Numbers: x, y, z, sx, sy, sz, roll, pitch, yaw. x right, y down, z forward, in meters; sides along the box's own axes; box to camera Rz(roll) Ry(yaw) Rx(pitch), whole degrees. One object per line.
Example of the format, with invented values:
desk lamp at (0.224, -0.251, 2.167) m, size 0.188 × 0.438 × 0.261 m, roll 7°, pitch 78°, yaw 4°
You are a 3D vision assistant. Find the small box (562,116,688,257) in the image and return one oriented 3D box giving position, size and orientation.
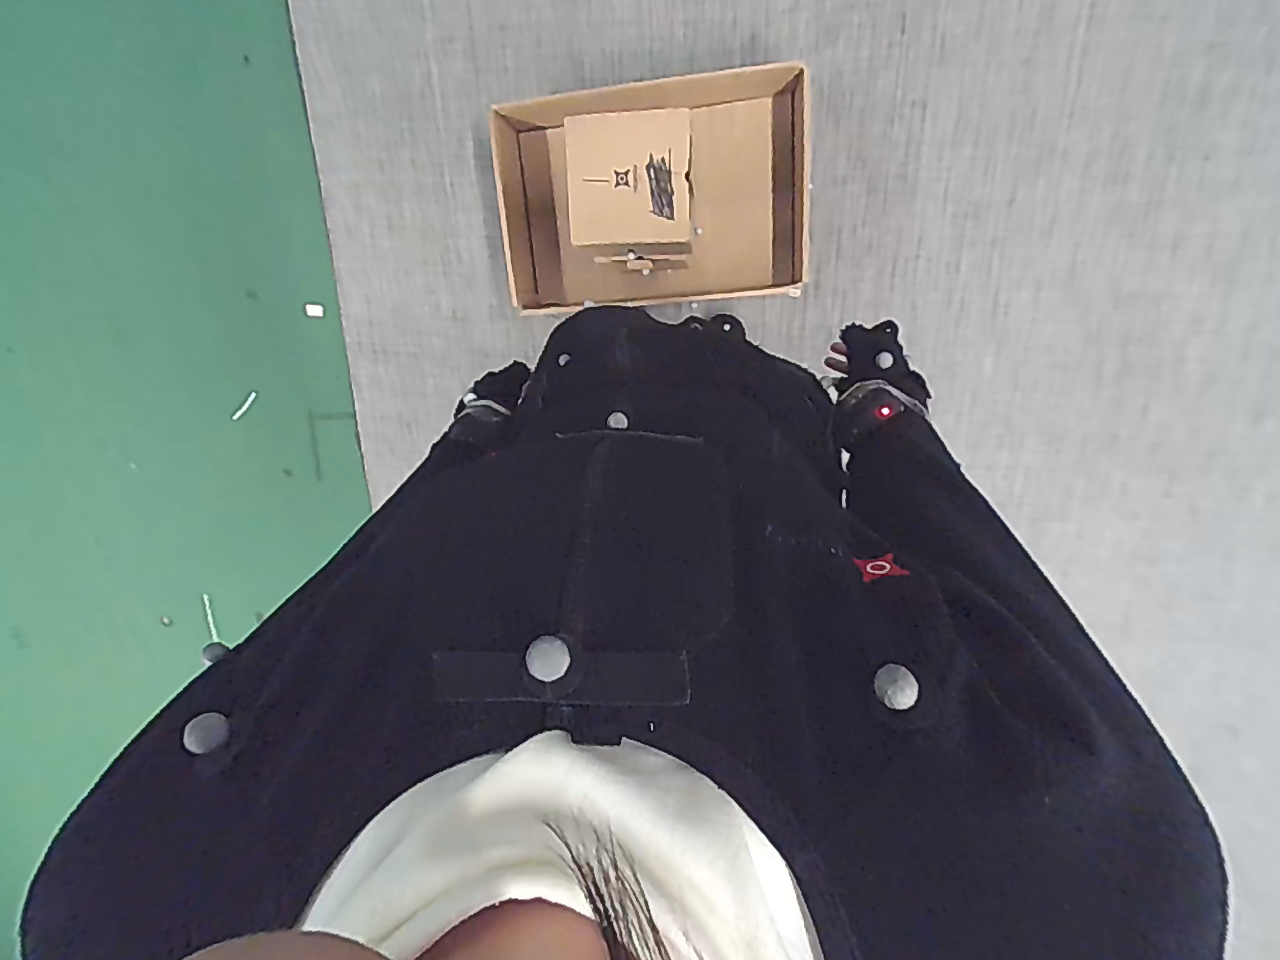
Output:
small box at (-0.015, -0.446, 0.844) m, size 0.179 × 0.176 × 0.168 m, roll 2°, pitch 106°, yaw 7°

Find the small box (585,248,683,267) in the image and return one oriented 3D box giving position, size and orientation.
small box at (-0.006, -0.485, 0.987) m, size 0.168 × 0.176 × 0.179 m, roll 1°, pitch 108°, yaw 6°
